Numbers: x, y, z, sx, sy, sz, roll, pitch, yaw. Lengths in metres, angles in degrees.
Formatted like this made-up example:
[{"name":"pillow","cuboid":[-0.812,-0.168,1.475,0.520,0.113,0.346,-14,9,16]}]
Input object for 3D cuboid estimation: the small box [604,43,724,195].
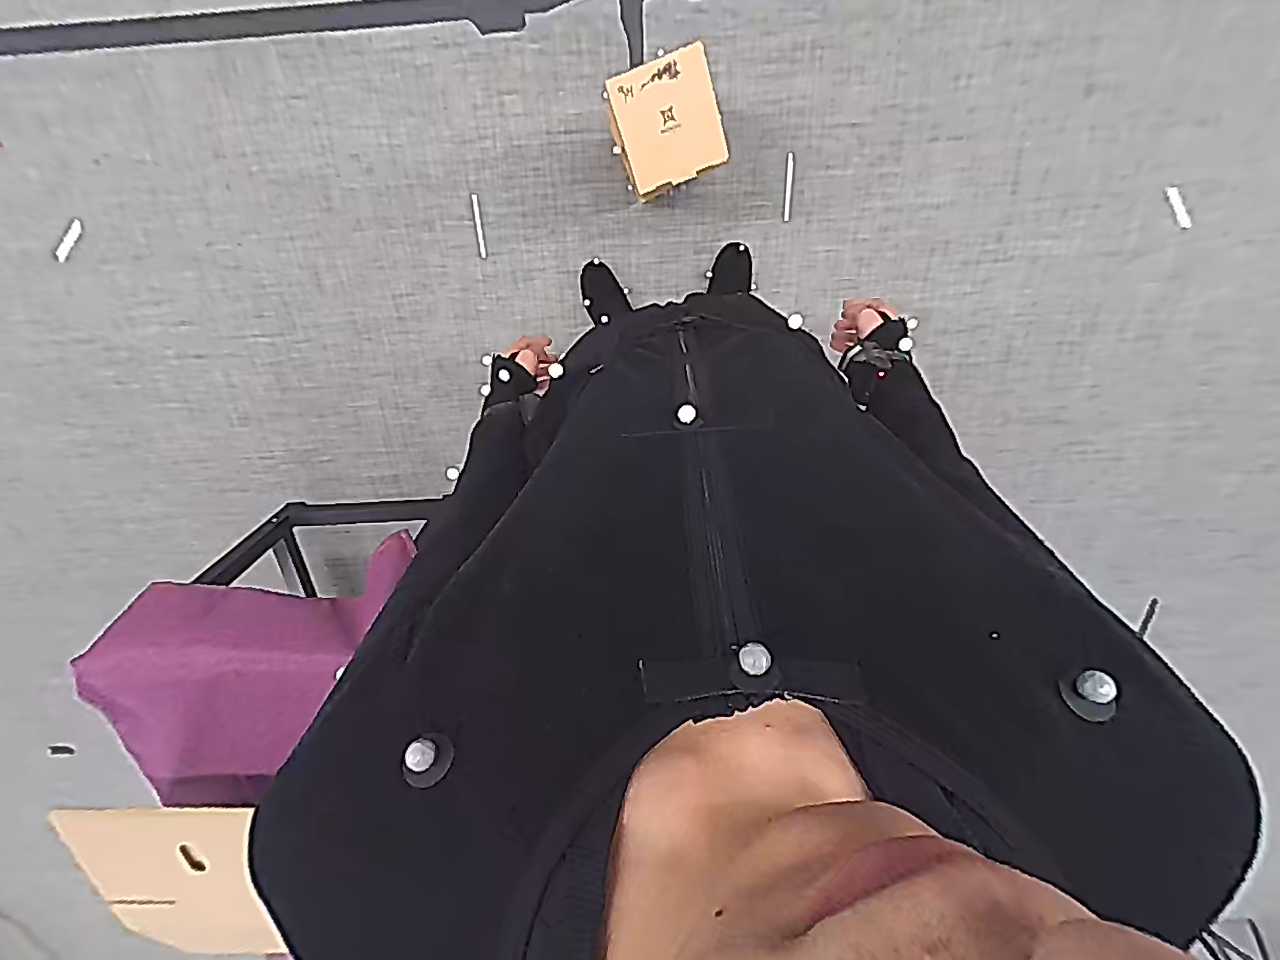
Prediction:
[{"name":"small box","cuboid":[0.043,-0.633,0.971,0.168,0.176,0.179,-17,116,8]}]
